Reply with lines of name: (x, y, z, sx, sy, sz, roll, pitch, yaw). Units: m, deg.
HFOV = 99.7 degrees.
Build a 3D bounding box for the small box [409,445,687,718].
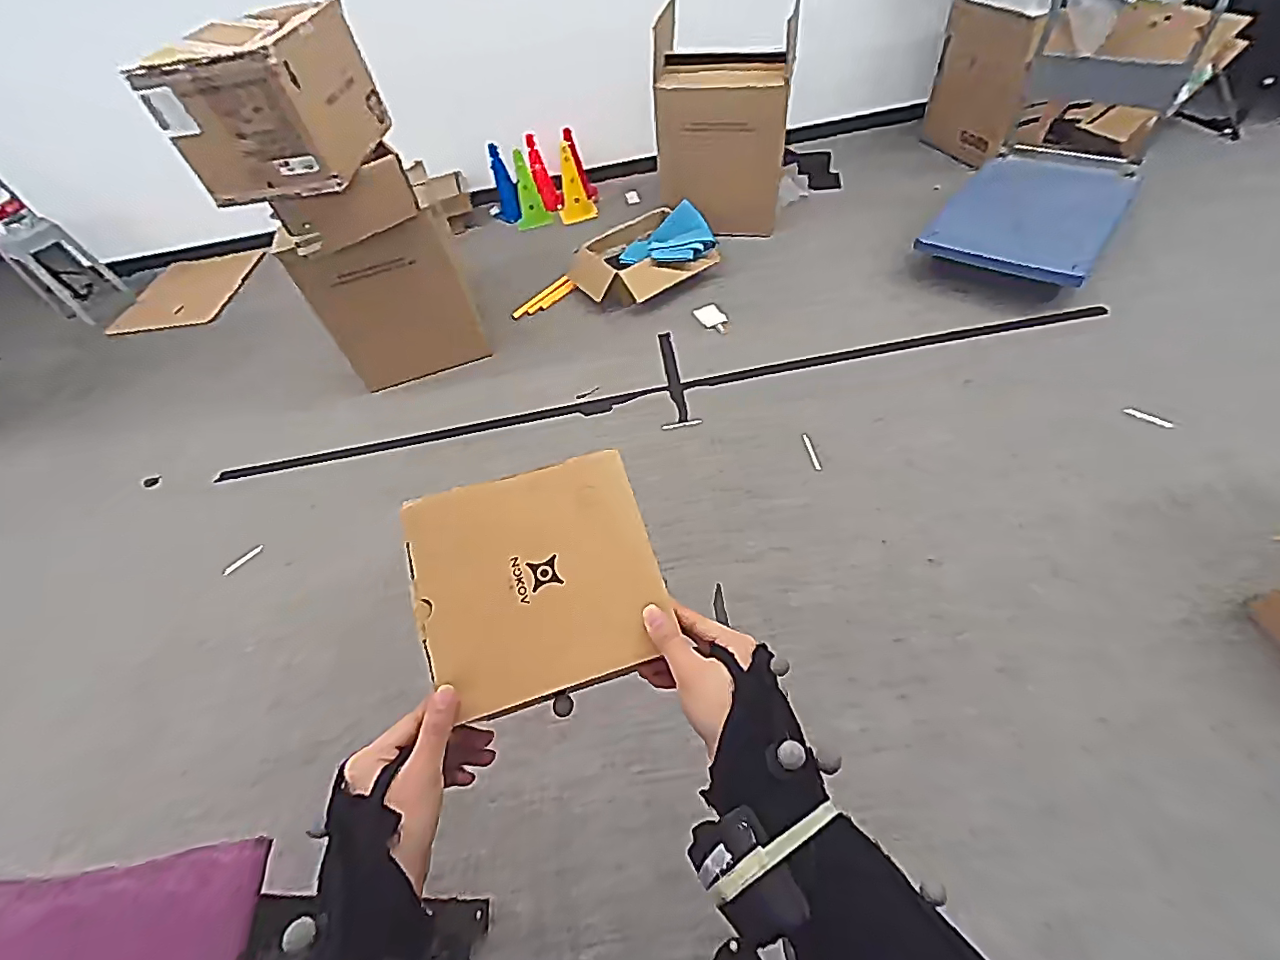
small box: (-0.077, 0.093, 0.474, 0.179, 0.176, 0.168, -16, 70, -10)
